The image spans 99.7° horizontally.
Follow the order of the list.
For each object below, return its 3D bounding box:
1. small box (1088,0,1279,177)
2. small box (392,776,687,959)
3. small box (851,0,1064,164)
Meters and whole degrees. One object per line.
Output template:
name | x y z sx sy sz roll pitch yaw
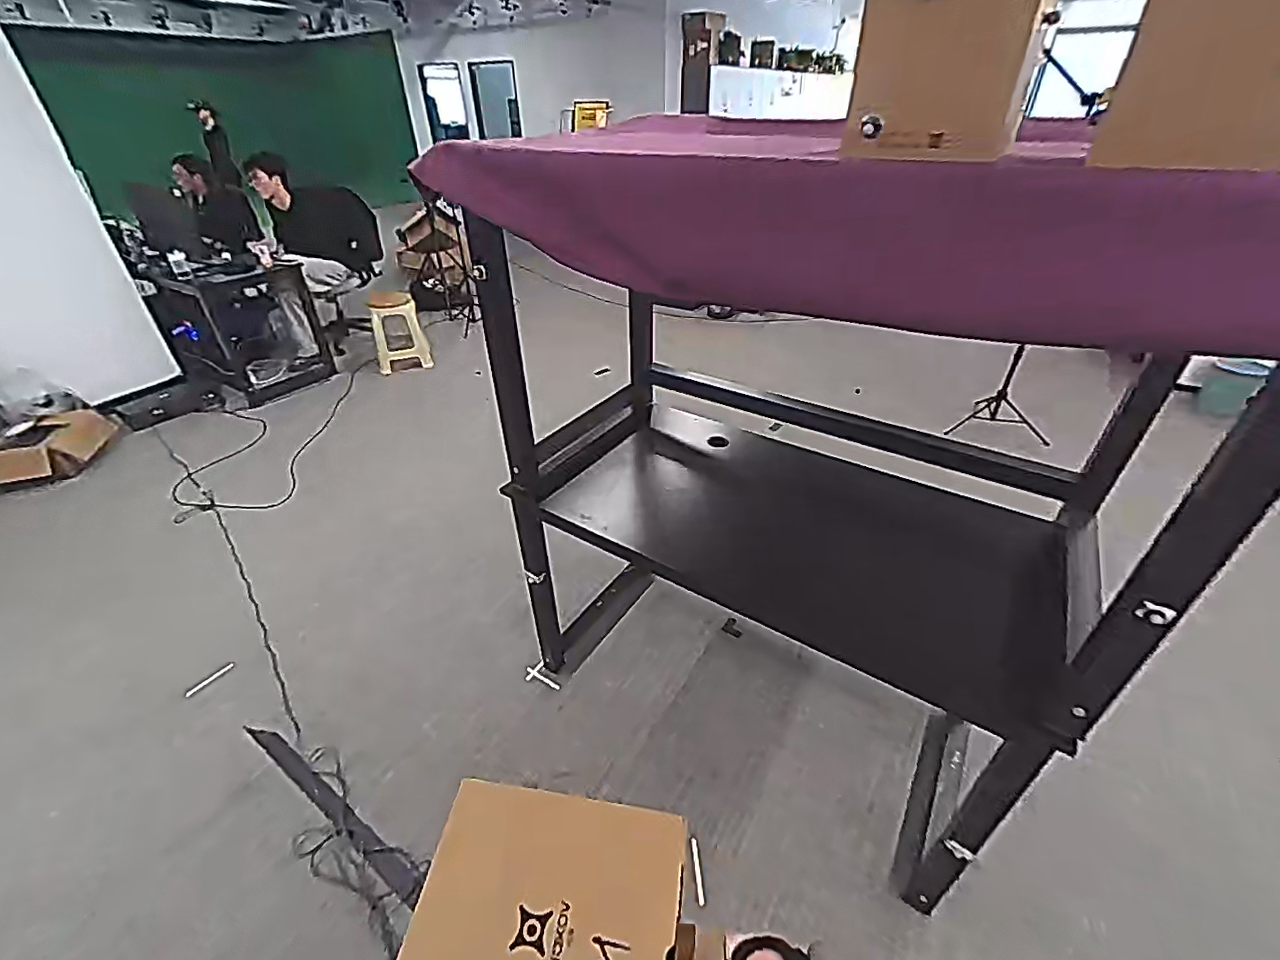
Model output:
small box | 0.547 -0.371 0.479 0.179 0.176 0.168 24 40 32
small box | -0.066 0.348 0.397 0.179 0.176 0.168 8 41 4
small box | 0.354 -0.460 0.612 0.168 0.176 0.179 21 39 28
